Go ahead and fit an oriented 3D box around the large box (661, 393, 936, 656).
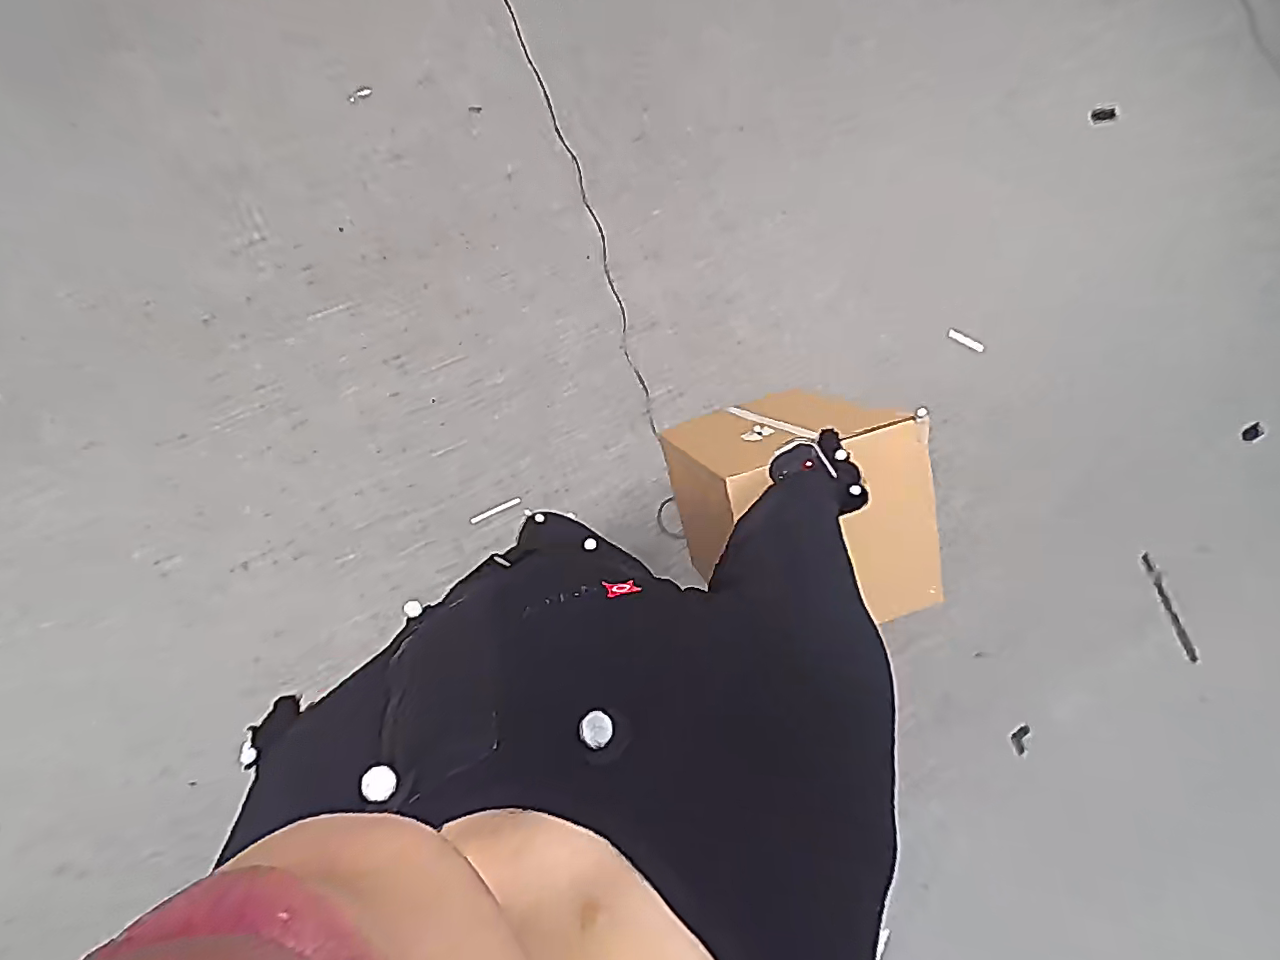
[{"bbox_3d":[0.265,0.046,0.997,0.320,0.408,0.320,-19,108,-7],"label":"large box"}]
